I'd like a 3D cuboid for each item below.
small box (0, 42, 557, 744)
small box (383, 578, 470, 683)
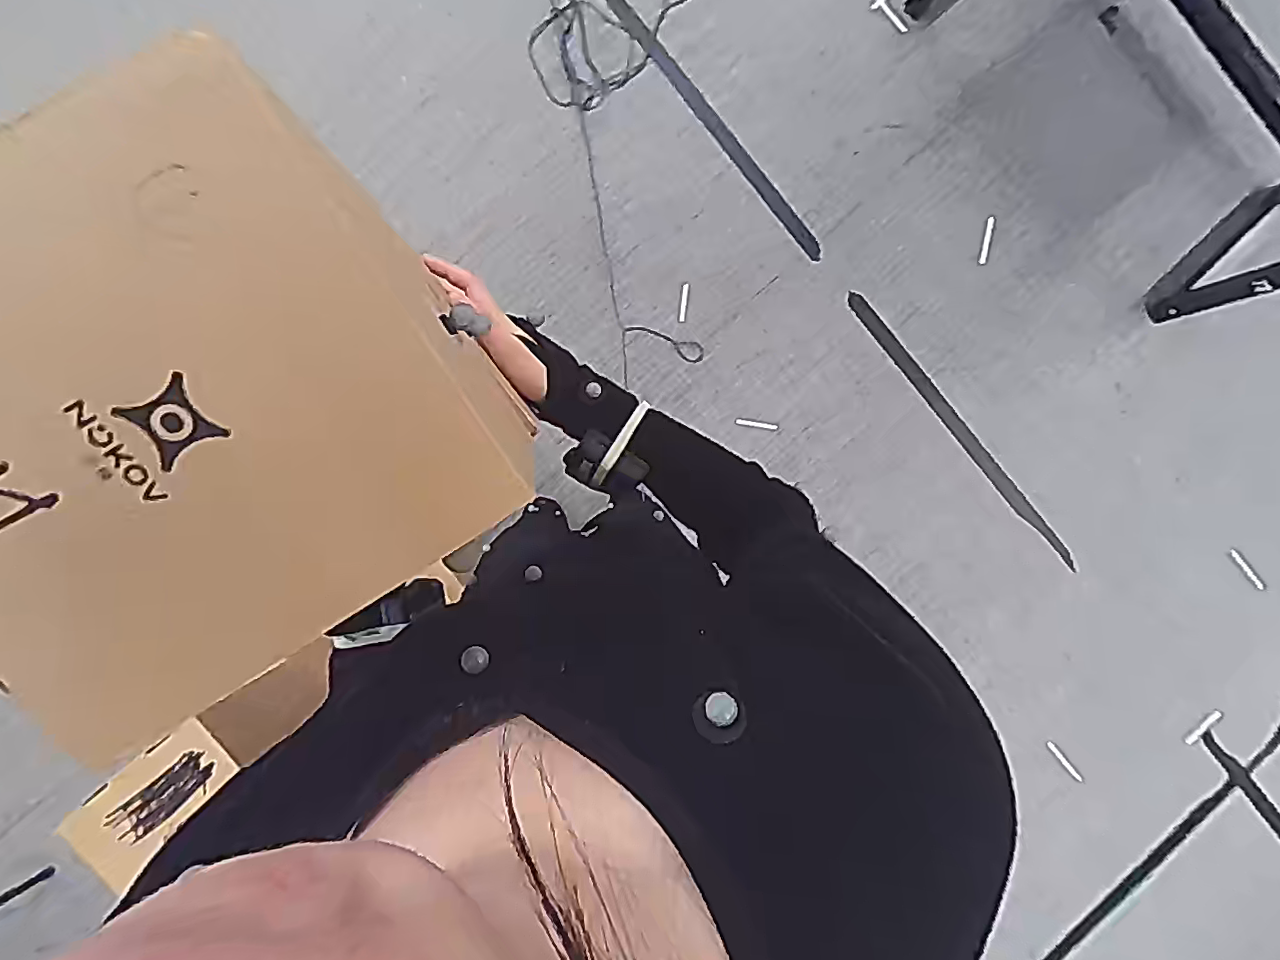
[{"bbox_3d":[-0.158,-0.034,0.249,0.179,0.176,0.168,-32,105,-4],"label":"small box"},{"bbox_3d":[-0.473,0.321,1.097,0.168,0.176,0.179,-33,92,-3],"label":"small box"}]
